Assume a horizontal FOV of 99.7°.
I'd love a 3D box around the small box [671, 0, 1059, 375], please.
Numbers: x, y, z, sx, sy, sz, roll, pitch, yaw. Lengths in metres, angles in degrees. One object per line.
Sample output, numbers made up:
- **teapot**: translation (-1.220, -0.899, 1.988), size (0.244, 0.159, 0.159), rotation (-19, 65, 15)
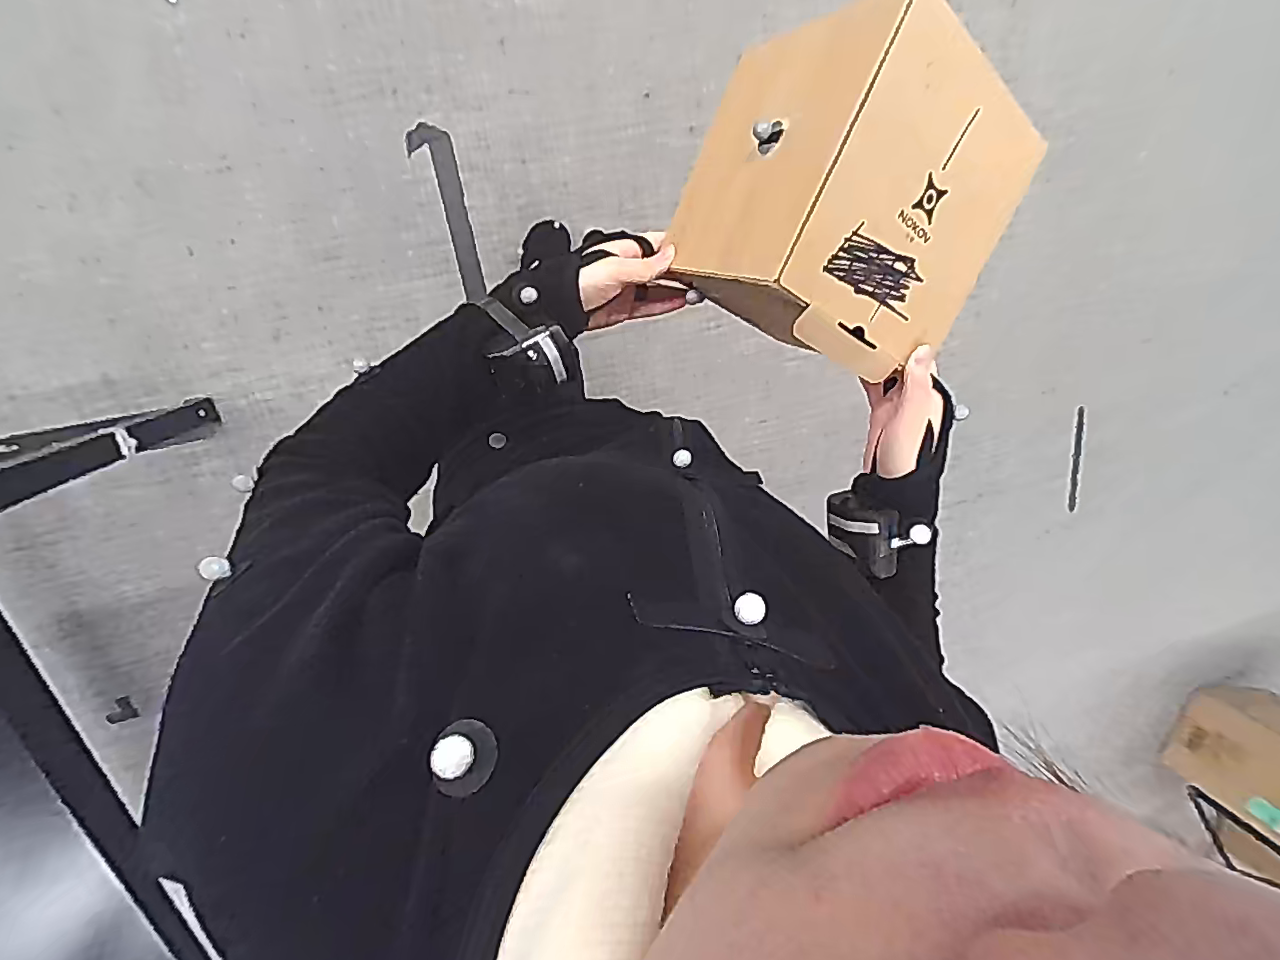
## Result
- **small box**: translation (0.146, -0.203, 0.402), size (0.168, 0.176, 0.179), rotation (17, 103, -32)
